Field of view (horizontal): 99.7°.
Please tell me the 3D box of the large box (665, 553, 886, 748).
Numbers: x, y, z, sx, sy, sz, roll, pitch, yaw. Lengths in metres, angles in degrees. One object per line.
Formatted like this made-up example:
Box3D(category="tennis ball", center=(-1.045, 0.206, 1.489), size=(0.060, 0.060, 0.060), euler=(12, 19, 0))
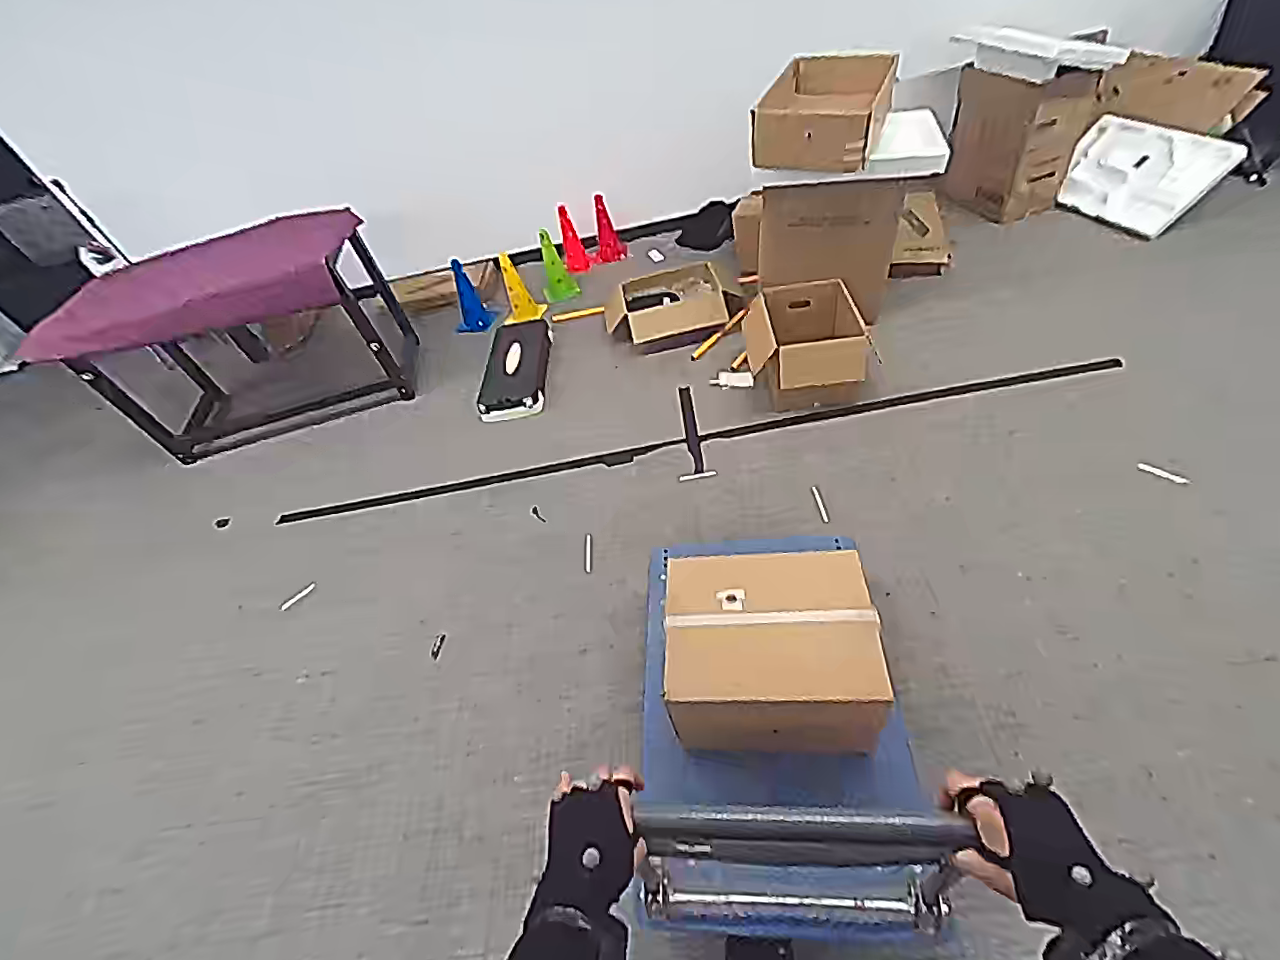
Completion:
Box3D(category="large box", center=(0.279, 0.388, 1.195), size=(0.408, 0.320, 0.320), euler=(-5, 47, 10))
